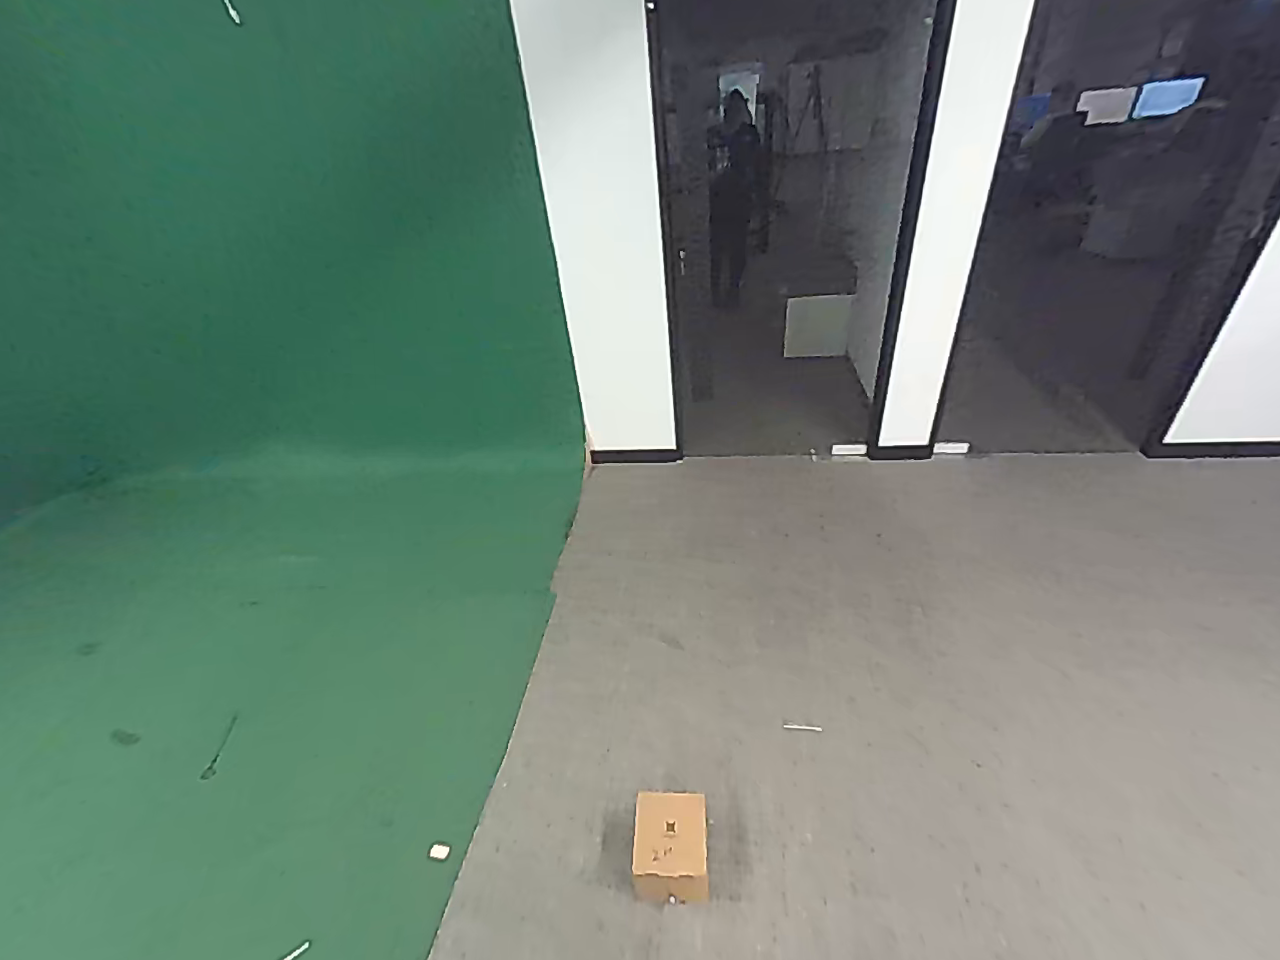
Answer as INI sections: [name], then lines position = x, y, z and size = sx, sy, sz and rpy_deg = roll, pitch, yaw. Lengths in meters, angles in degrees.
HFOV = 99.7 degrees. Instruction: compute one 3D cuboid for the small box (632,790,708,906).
[small box]
position = 0.075, 0.868, 1.281
size = 0.168, 0.176, 0.179
rpy_deg = -2, 34, 7
